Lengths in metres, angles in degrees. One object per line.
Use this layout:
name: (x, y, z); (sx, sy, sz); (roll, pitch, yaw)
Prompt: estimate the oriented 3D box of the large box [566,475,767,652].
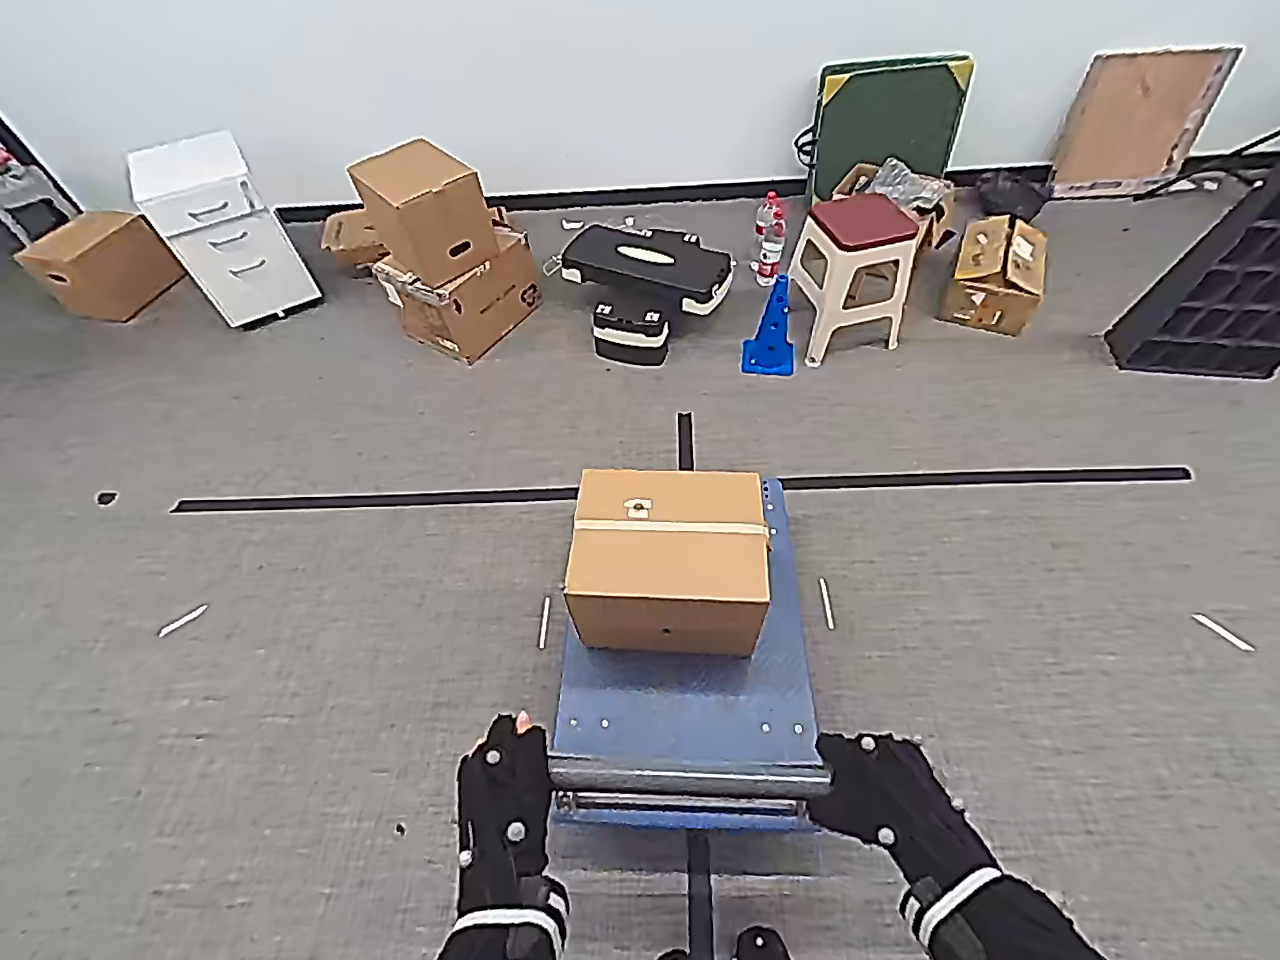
large box: (0.068, 0.202, 1.265); (0.408, 0.320, 0.320); (0, 53, 5)
